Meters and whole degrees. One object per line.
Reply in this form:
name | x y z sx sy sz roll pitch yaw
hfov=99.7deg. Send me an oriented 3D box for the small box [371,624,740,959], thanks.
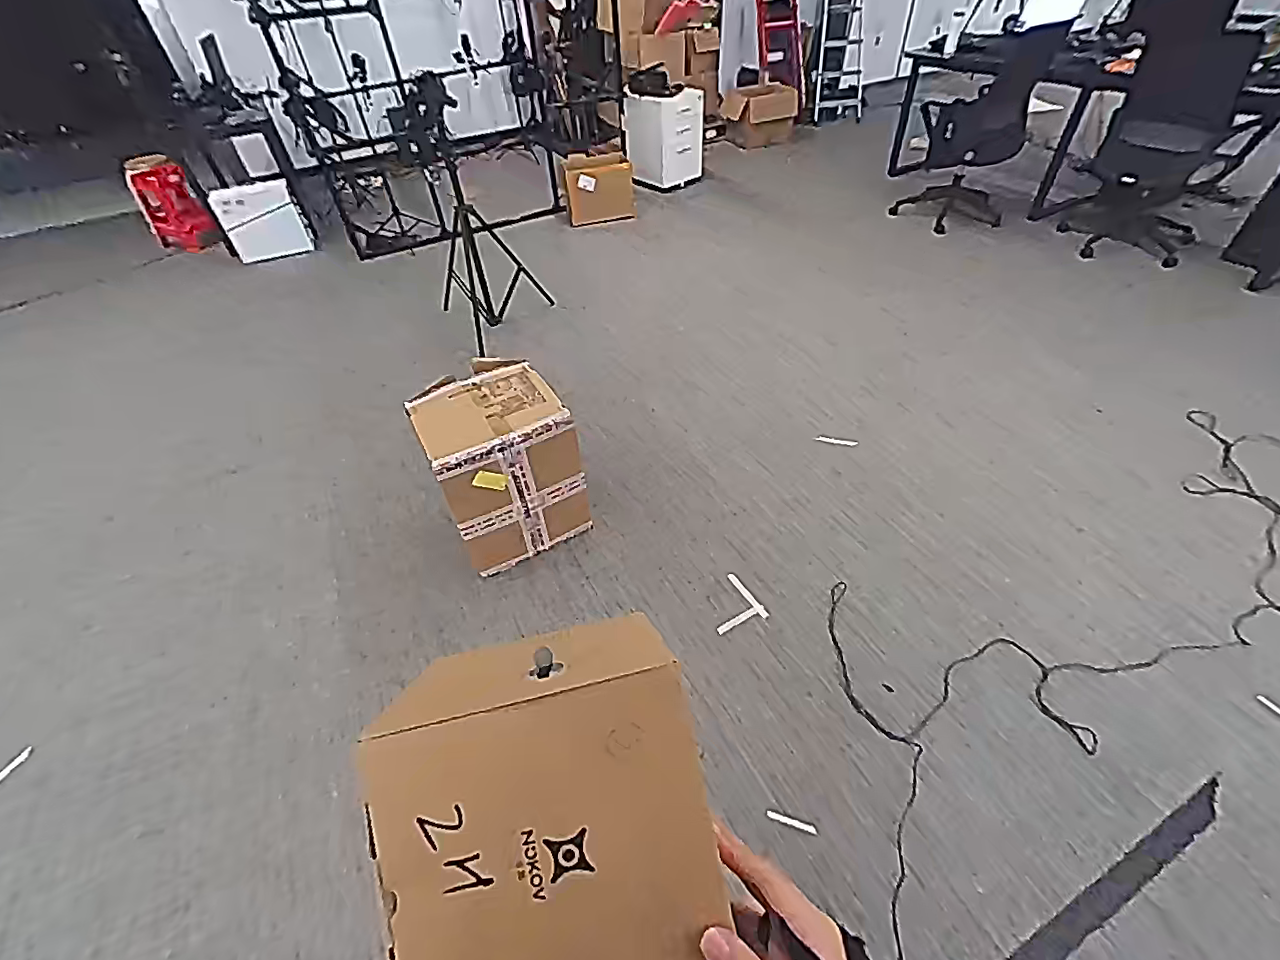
small box | -0.053 0.207 0.369 0.179 0.176 0.168 -11 86 -7
